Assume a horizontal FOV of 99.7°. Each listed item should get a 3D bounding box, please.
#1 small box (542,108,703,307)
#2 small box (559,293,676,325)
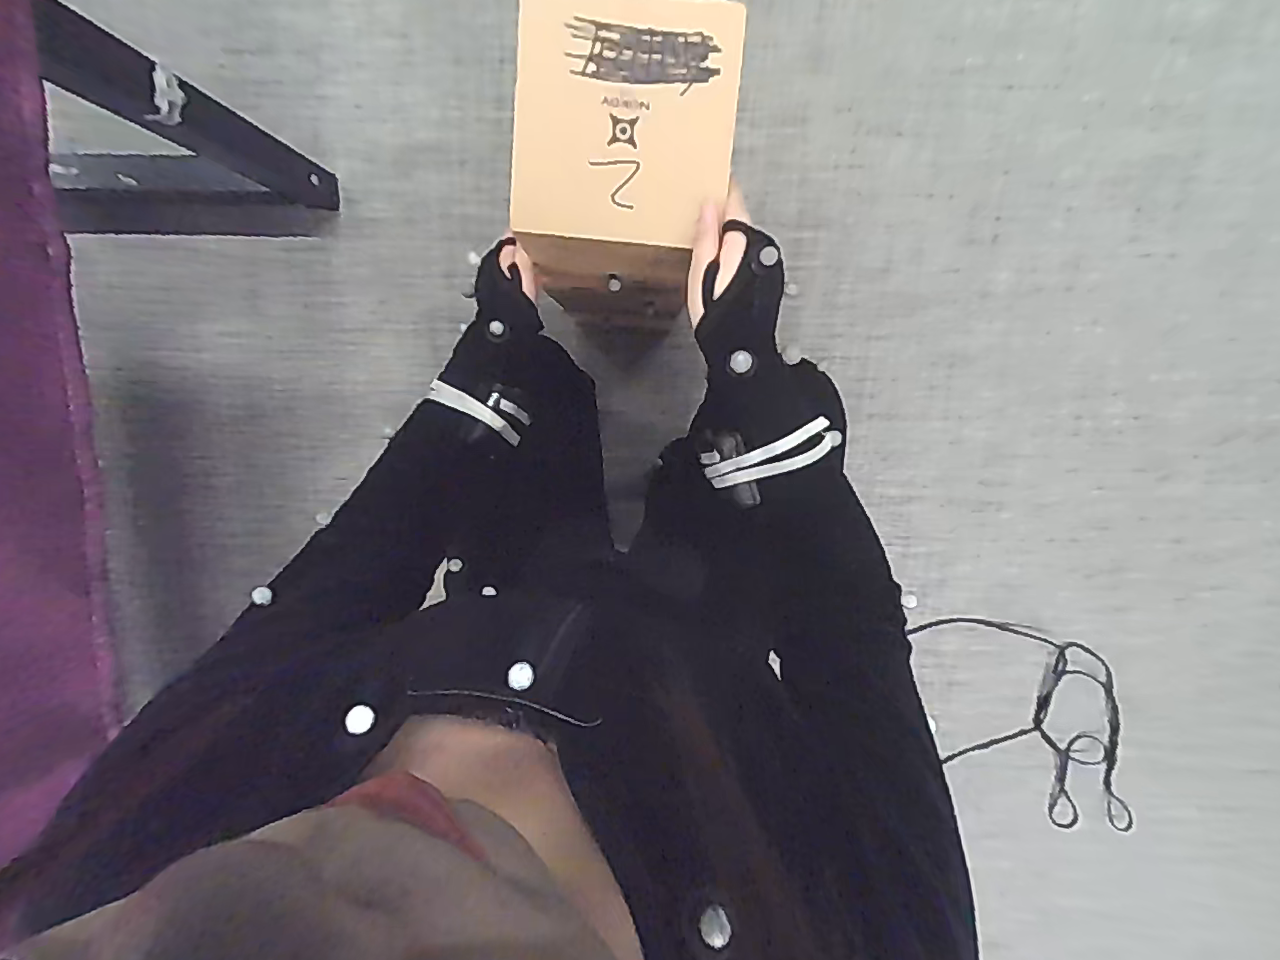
[{"bbox_3d":[-0.020,-0.308,0.649,0.168,0.176,0.179,2,101,-1],"label":"small box"},{"bbox_3d":[-0.021,-0.333,0.811,0.168,0.176,0.179,5,101,-1],"label":"small box"}]
